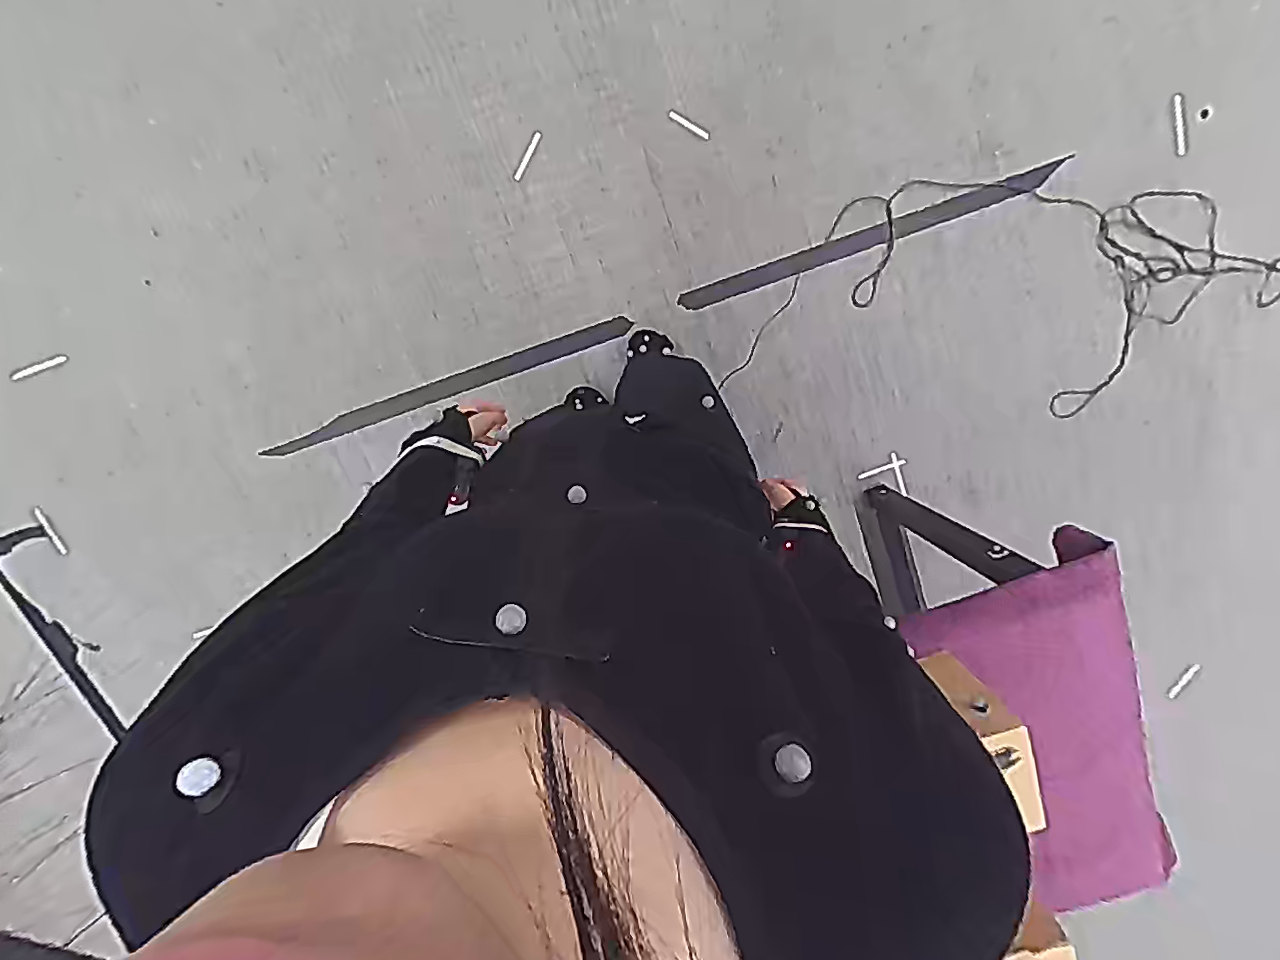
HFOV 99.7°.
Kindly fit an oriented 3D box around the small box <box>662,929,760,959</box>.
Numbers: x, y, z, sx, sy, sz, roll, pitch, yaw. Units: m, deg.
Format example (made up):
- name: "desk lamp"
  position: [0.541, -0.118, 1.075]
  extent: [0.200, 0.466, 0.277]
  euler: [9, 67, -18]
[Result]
- name: "small box"
  position: [0.142, 0.899, 0.885]
  extent: [0.168, 0.176, 0.179]
  euler: [-20, 102, 2]
